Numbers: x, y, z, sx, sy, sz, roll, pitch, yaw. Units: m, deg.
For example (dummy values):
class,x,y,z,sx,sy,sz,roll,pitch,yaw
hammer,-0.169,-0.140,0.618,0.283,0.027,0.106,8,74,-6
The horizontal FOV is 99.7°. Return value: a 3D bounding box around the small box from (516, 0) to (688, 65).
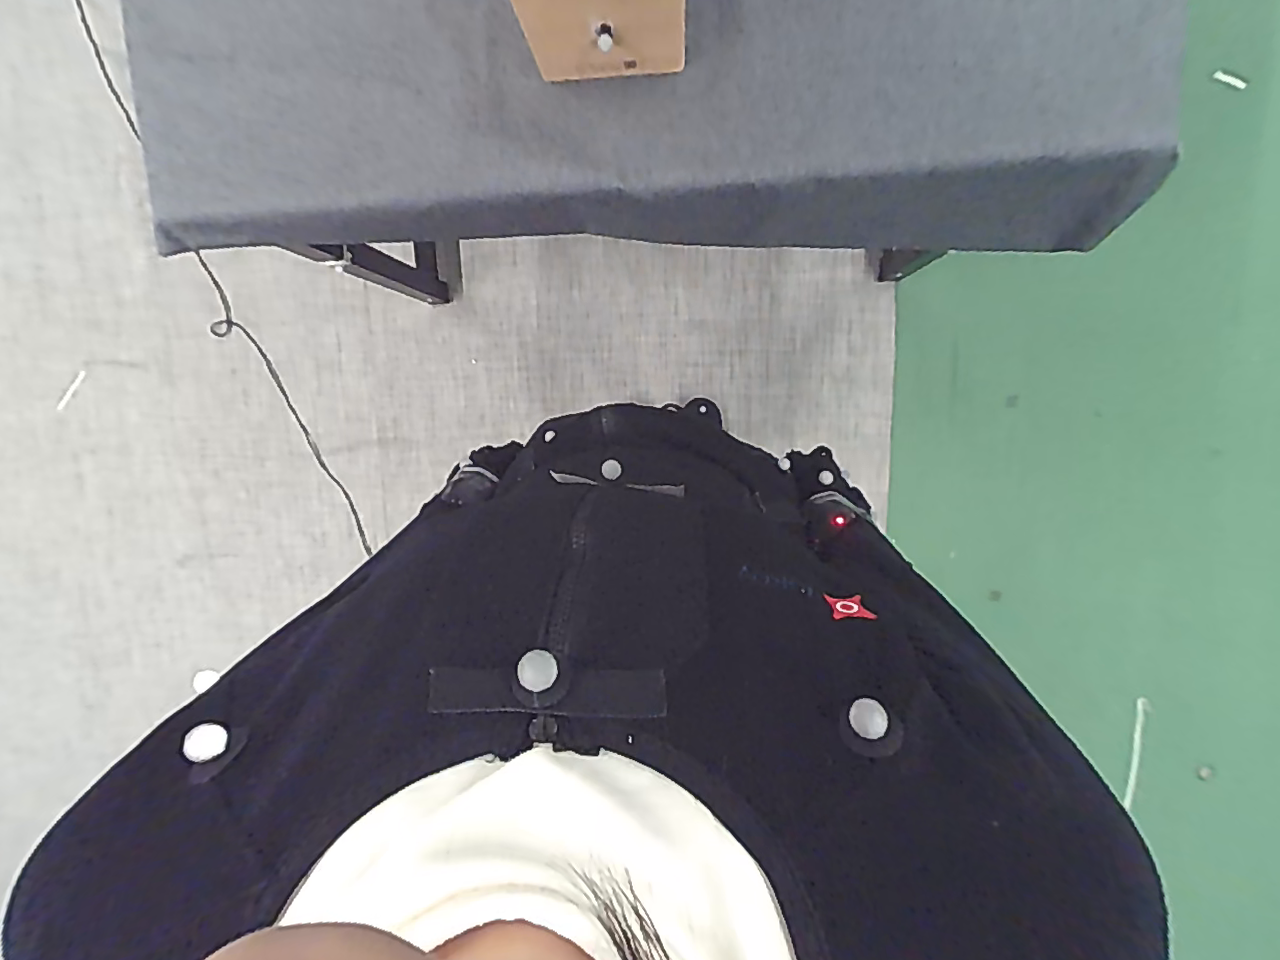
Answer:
class,x,y,z,sx,sy,sz,roll,pitch,yaw
small box,-0.038,-0.545,0.529,0.168,0.176,0.179,-2,99,6
